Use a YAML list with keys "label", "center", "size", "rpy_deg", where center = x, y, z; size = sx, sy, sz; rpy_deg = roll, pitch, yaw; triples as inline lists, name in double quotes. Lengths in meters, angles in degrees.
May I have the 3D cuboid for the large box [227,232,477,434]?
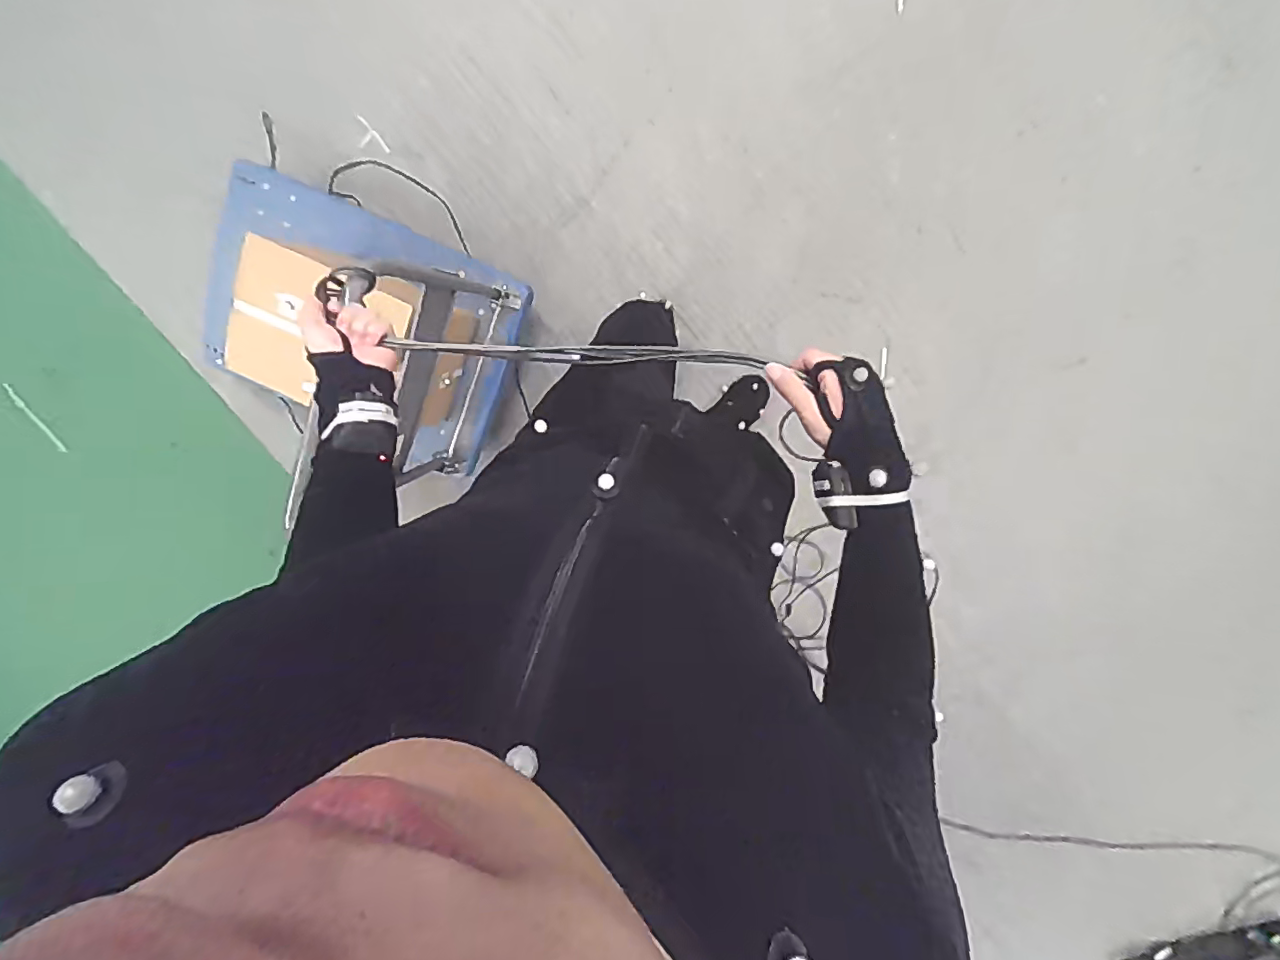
- label: "large box"
  center: [-0.677, -0.349, 1.316]
  size: [0.408, 0.320, 0.320]
  rpy_deg: [26, 106, 4]
